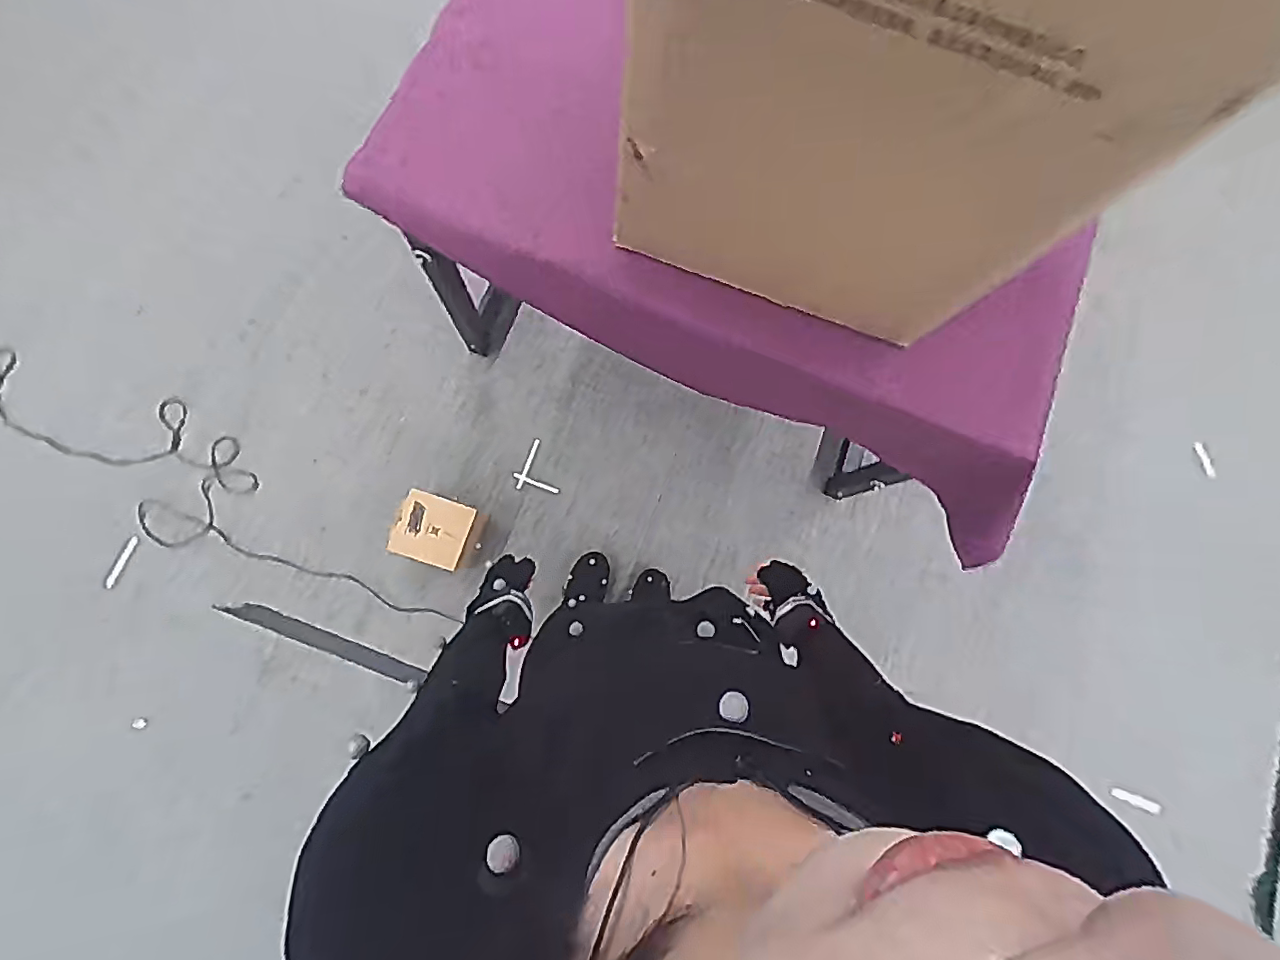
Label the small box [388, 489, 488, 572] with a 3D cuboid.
[{"bbox_3d":[-0.519,0.137,1.414,0.179,0.176,0.168,19,80,-3],"label":"small box"}]
